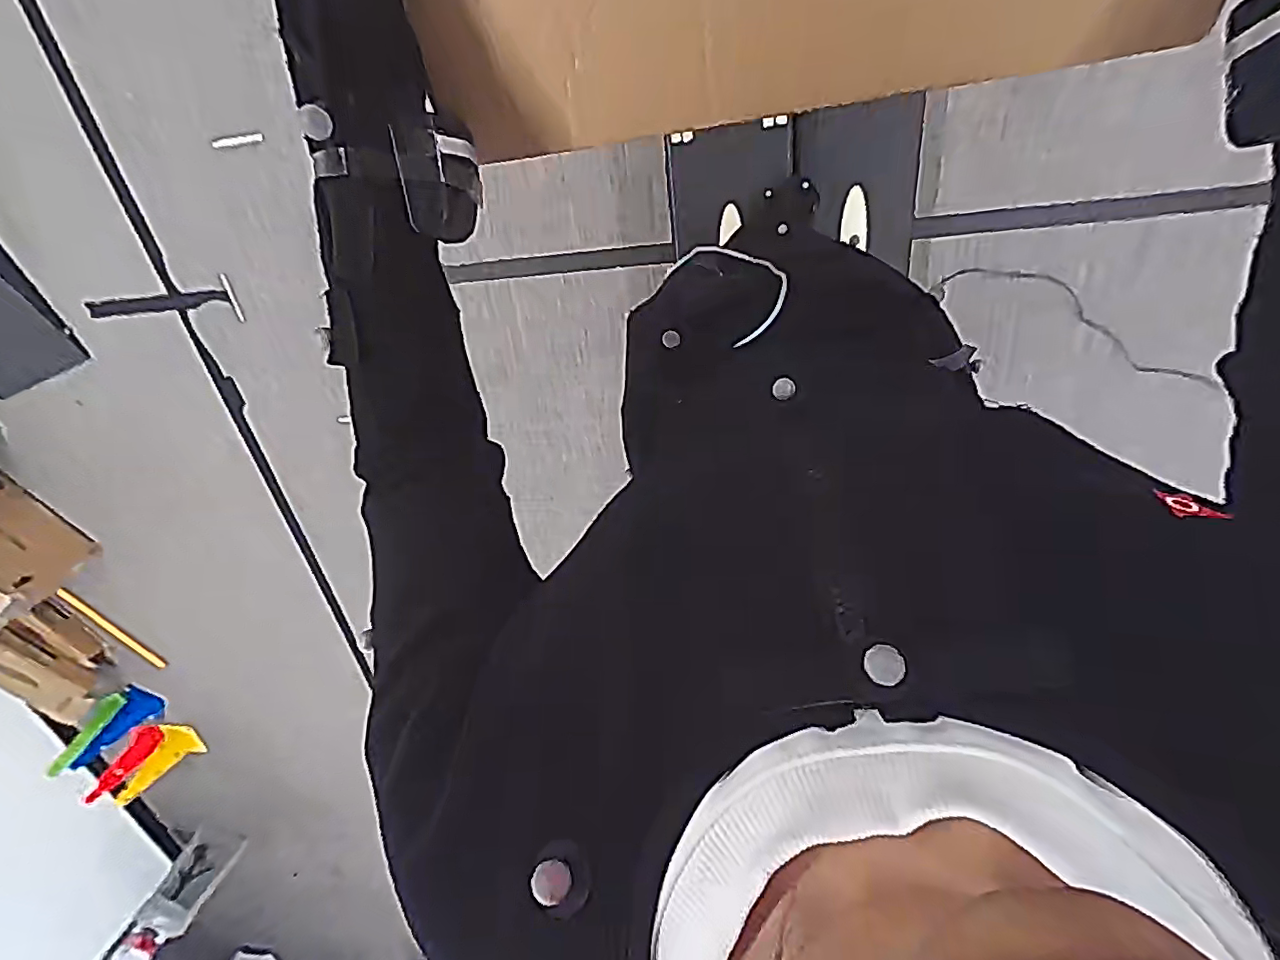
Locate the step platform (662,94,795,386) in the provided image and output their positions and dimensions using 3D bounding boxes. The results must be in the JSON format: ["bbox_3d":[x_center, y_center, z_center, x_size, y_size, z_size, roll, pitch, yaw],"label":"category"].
[{"bbox_3d":[0.228,-0.578,1.337,0.286,0.204,0.684,-4,116,10],"label":"step platform"}]

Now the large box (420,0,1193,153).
[{"bbox_3d":[0.073,-0.436,0.312,0.408,0.320,0.320,-2,136,13],"label":"large box"}]
